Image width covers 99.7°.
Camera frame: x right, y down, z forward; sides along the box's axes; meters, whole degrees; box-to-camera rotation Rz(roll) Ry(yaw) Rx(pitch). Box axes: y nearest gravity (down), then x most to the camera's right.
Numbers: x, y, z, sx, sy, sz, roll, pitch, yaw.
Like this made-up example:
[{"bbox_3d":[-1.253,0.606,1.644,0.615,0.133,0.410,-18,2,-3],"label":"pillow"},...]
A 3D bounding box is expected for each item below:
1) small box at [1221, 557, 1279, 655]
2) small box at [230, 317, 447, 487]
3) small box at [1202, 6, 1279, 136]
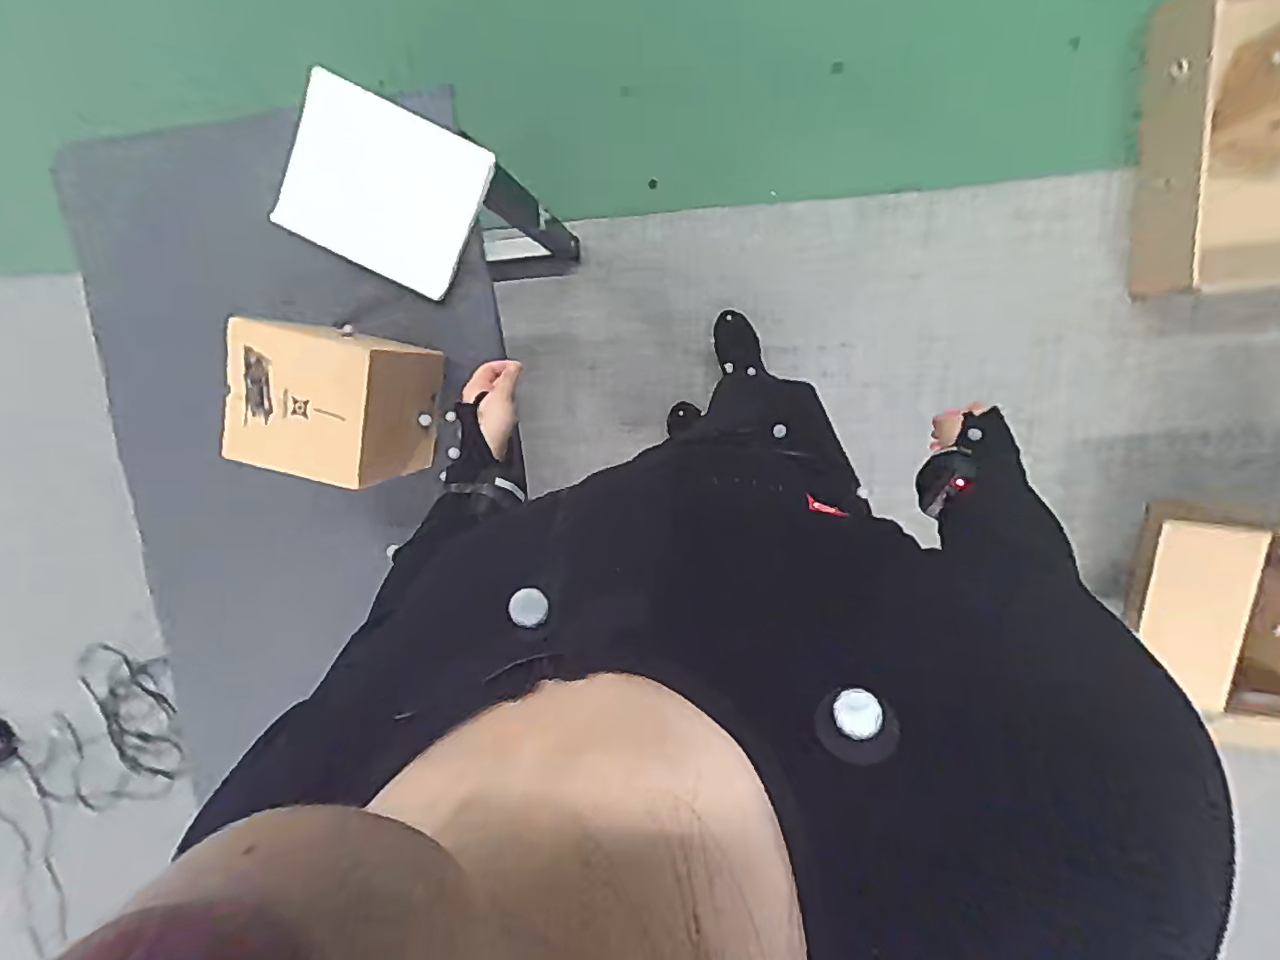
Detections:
[{"bbox_3d":[1.363,0.265,1.107,0.168,0.176,0.179,0,102,9],"label":"small box"},{"bbox_3d":[-0.377,-0.103,0.695,0.179,0.176,0.168,13,104,5],"label":"small box"},{"bbox_3d":[1.264,-0.796,1.046,0.168,0.176,0.179,9,103,4],"label":"small box"}]
